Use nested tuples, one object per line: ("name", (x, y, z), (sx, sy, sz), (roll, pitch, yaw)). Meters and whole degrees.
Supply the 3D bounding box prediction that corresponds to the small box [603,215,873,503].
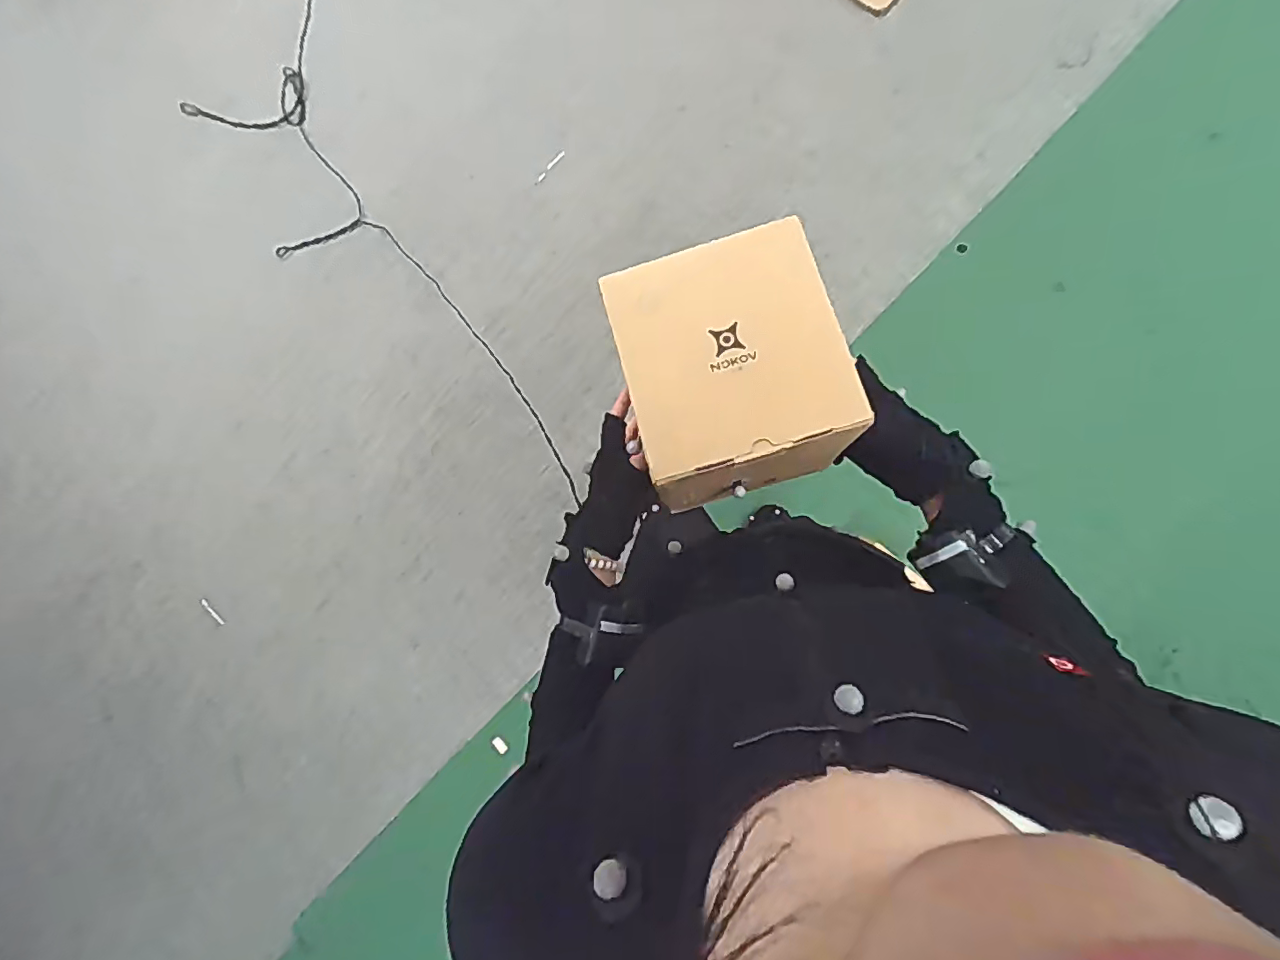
("small box", (0.076, -0.090, 0.485), (0.168, 0.176, 0.179), (-17, 79, 3))
